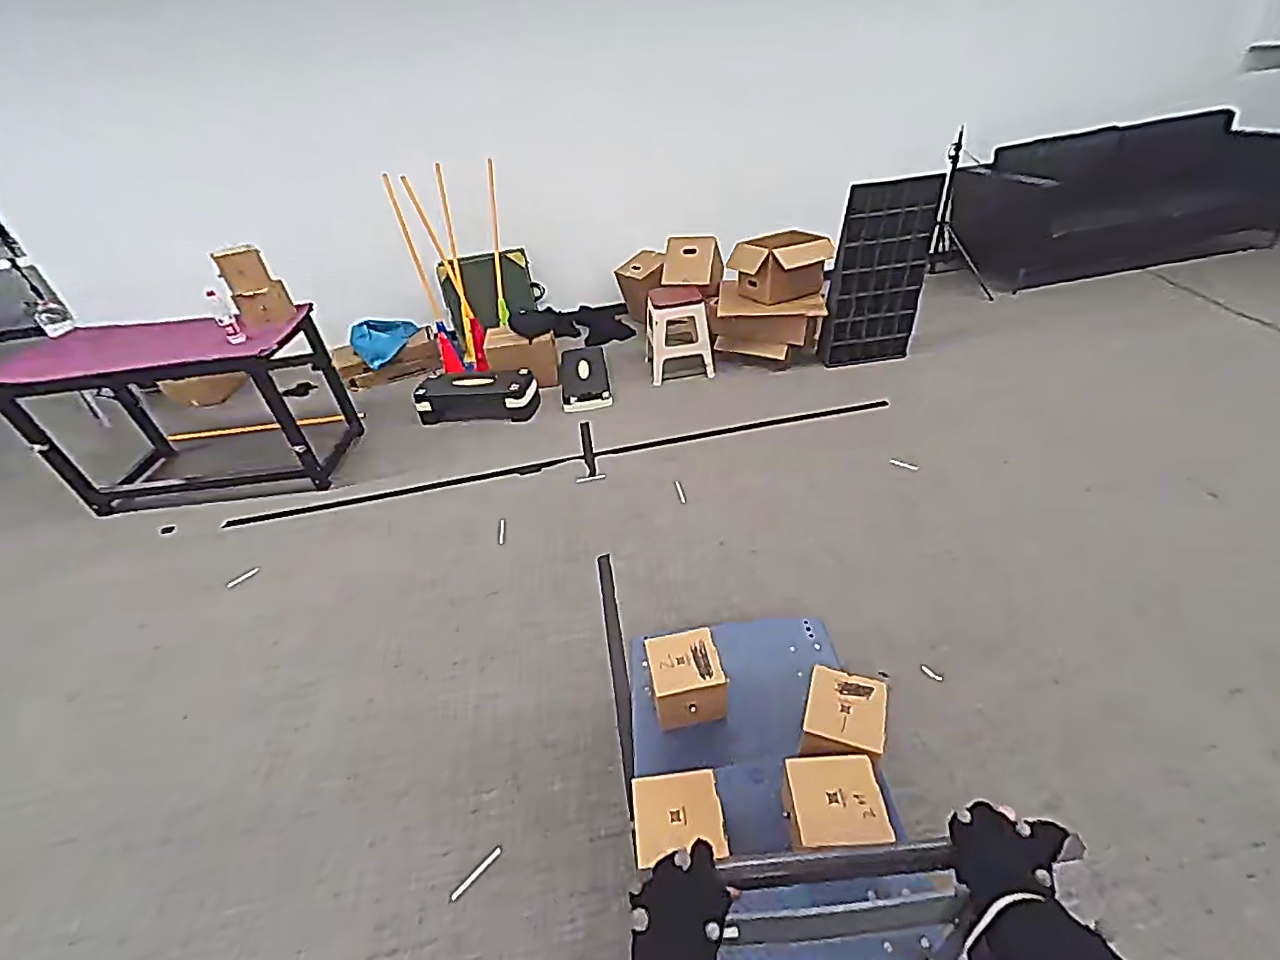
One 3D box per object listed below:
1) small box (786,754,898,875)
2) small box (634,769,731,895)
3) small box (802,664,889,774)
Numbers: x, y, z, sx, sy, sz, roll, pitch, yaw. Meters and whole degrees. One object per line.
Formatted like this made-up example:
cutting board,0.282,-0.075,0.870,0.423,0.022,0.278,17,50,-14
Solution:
small box,0.404,0.692,1.116,0.179,0.176,0.168,-5,37,4
small box,0.089,0.732,1.123,0.179,0.176,0.168,-7,37,-1
small box,0.477,0.569,1.264,0.168,0.176,0.179,9,41,21
